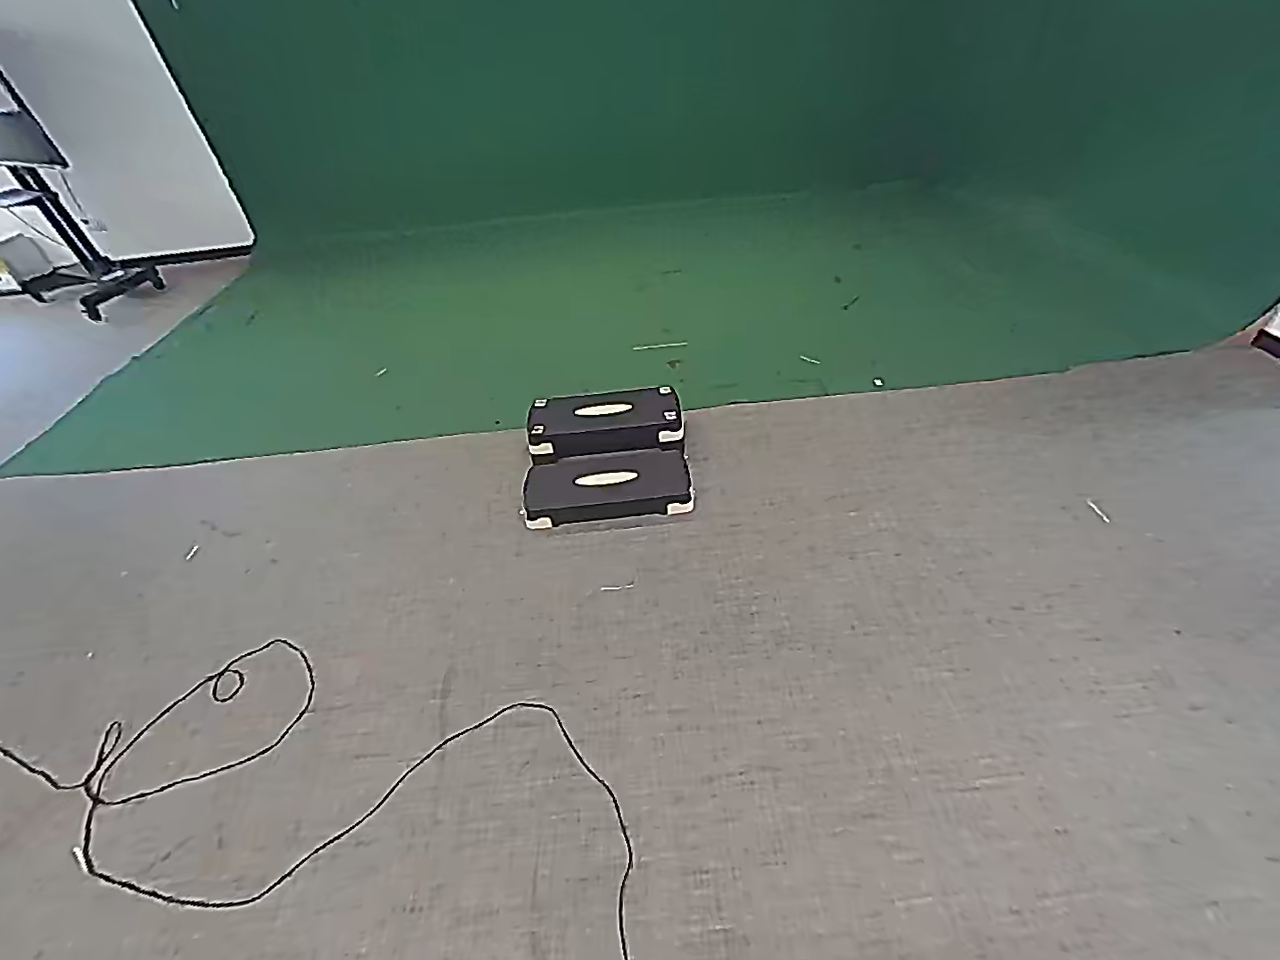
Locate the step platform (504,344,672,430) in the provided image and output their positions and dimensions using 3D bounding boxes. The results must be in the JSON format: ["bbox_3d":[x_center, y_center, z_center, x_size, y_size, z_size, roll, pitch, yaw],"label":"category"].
[{"bbox_3d":[-0.209,-0.392,2.276,0.684,0.204,0.286,-7,42,0],"label":"step platform"}]
